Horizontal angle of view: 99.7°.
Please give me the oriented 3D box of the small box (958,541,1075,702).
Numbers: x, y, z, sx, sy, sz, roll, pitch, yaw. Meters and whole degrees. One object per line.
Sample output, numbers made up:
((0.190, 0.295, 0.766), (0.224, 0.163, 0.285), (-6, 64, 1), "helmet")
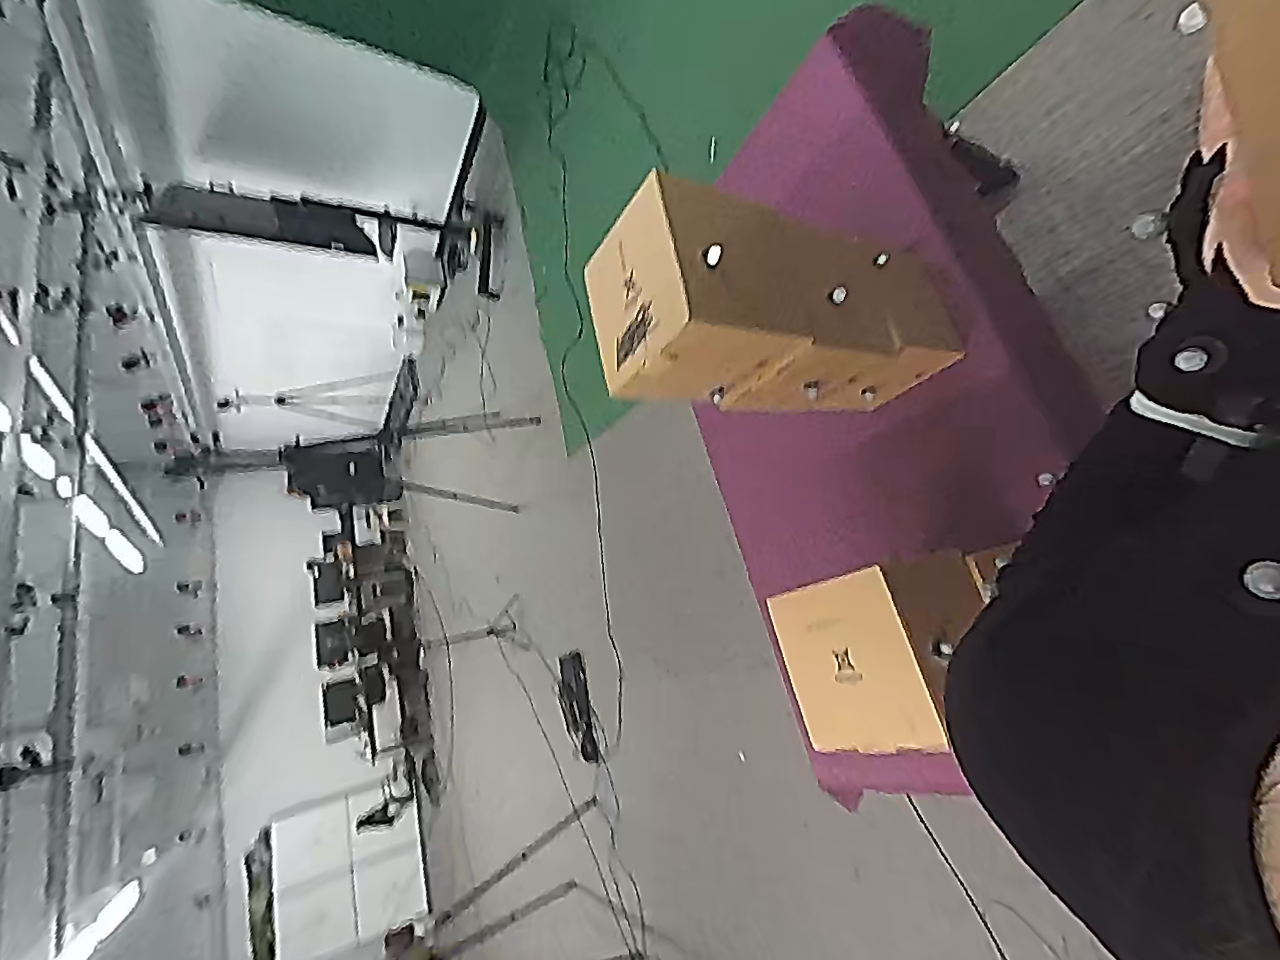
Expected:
((0.427, 0.186, 0.711), (0.179, 0.176, 0.168), (-36, 64, 52), "small box")

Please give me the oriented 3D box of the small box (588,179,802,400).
((0.061, -0.204, 0.630), (0.168, 0.176, 0.179), (-32, 66, 54), "small box")

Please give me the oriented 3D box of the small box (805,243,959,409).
((0.335, -0.220, 0.811), (0.168, 0.176, 0.179), (-38, 62, 52), "small box")

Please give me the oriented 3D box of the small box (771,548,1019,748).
((0.290, 0.190, 0.623), (0.168, 0.176, 0.179), (-37, 63, 51), "small box")

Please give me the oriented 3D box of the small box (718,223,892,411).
((0.200, -0.204, 0.720), (0.168, 0.176, 0.179), (-32, 67, 53), "small box")
